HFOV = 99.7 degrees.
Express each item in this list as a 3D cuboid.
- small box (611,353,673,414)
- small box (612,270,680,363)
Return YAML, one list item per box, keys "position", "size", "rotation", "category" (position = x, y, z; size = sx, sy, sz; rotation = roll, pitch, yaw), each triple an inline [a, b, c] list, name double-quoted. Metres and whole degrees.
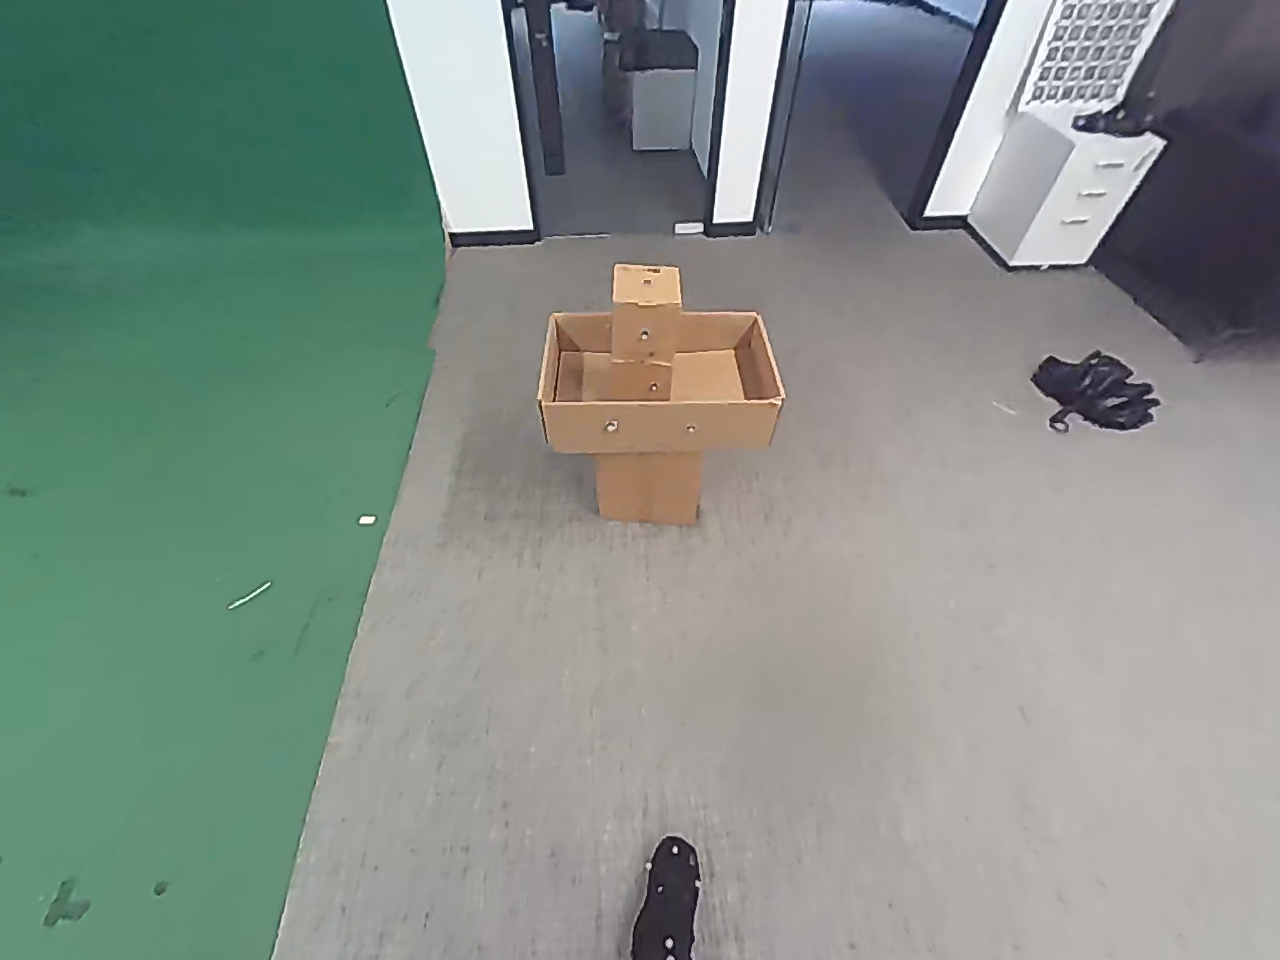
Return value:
- position: [0.005, -0.302, 1.509]
  size: [0.168, 0.176, 0.179]
  rotation: [3, 47, -2]
  category: "small box"
- position: [0.014, -0.417, 1.392]
  size: [0.168, 0.176, 0.179]
  rotation: [2, 50, -2]
  category: "small box"
